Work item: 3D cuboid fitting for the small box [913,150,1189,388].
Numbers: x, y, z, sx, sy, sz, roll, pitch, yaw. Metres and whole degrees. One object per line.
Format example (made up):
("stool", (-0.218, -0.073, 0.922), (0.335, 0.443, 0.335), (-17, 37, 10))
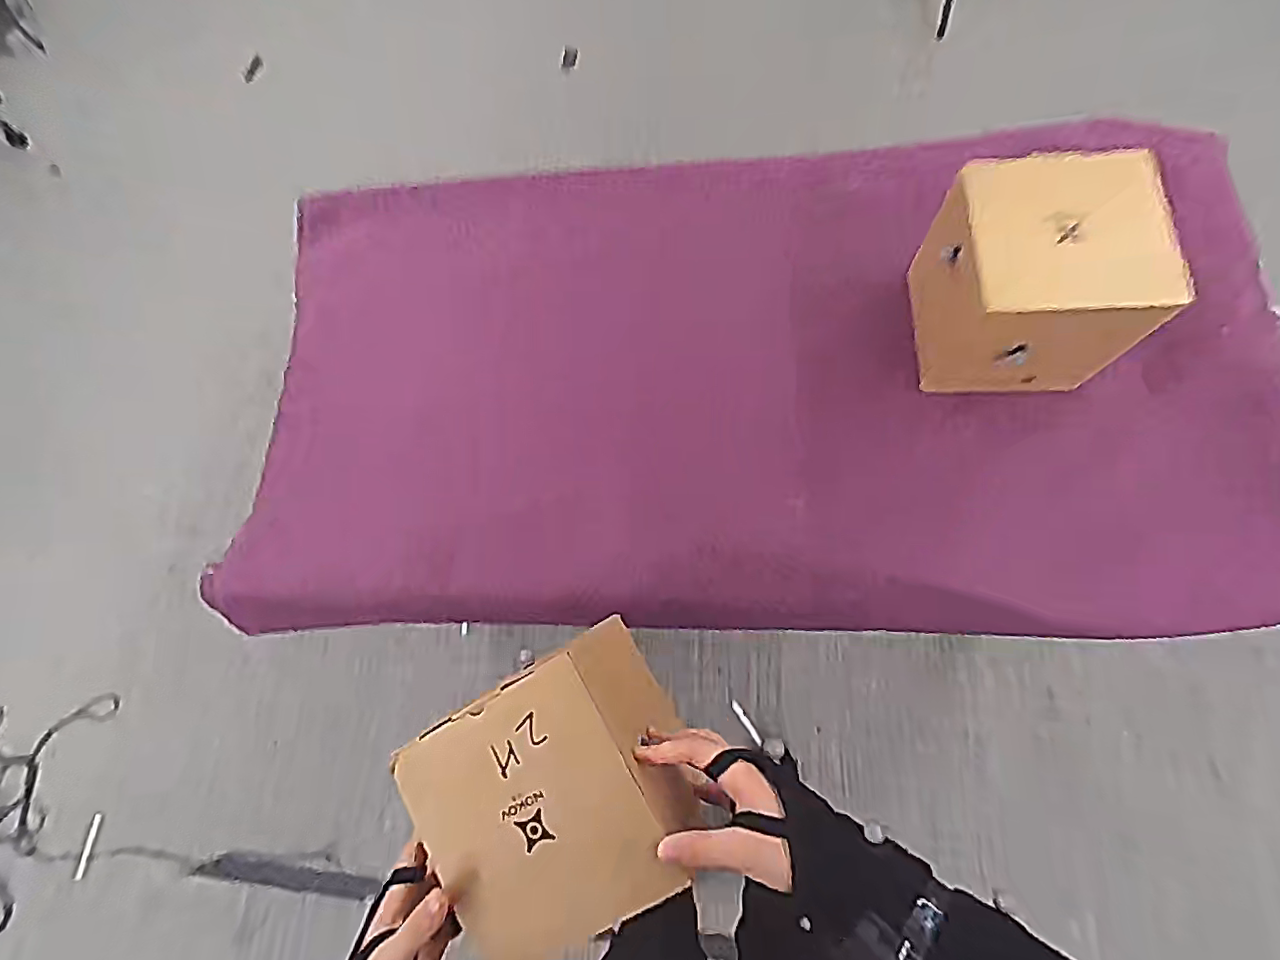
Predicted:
("small box", (0.411, -0.209, 0.579), (0.168, 0.176, 0.179), (0, 72, 9))
